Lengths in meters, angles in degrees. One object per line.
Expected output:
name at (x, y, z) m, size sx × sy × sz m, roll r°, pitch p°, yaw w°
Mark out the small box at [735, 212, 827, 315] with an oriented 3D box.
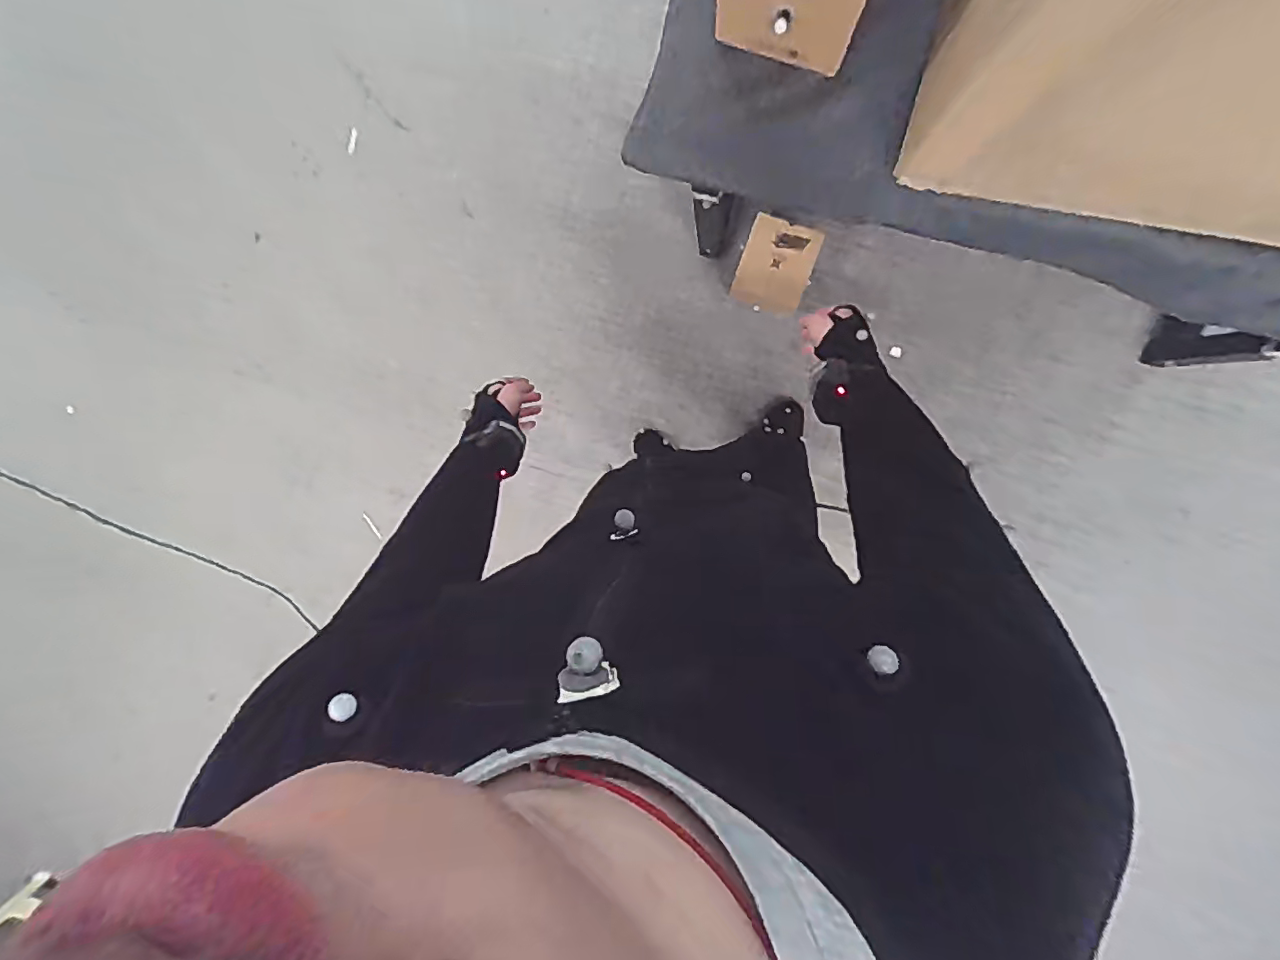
small box at (0.340, -0.531, 1.348) m, size 0.168 × 0.176 × 0.179 m, roll 21°, pitch 102°, yaw 5°
